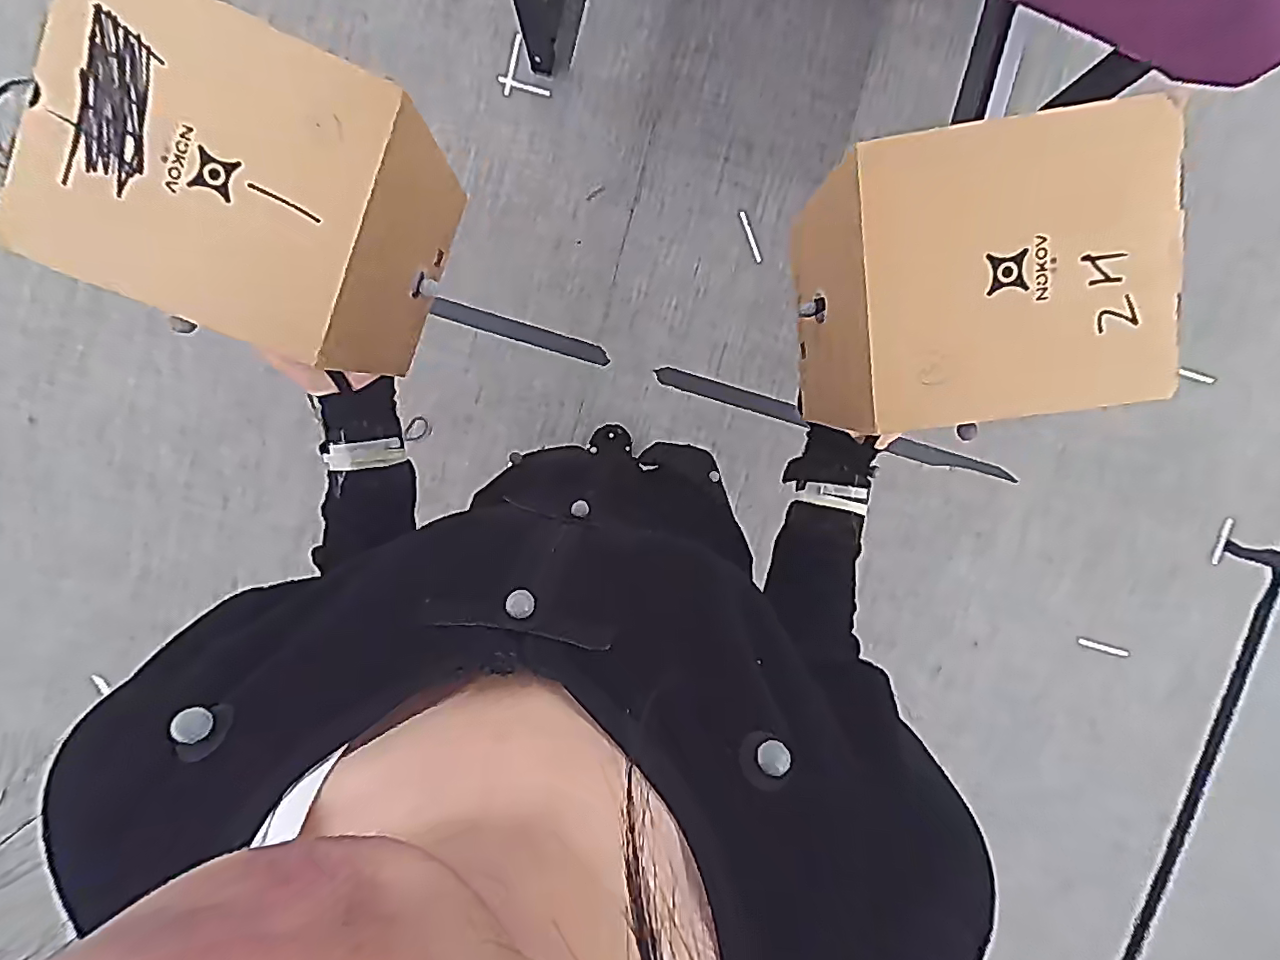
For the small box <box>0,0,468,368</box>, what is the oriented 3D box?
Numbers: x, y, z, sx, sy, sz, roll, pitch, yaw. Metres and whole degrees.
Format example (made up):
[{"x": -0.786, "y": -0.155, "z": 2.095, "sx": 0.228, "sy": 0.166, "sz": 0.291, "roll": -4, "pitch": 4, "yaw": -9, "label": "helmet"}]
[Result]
[{"x": -0.241, "y": -0.183, "z": 0.372, "sx": 0.179, "sy": 0.176, "sz": 0.168, "roll": 21, "pitch": 97, "yaw": -10, "label": "small box"}]

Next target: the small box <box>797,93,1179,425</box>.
[{"x": 0.218, "y": -0.132, "z": 0.388, "sx": 0.179, "sy": 0.176, "sz": 0.168, "roll": -7, "pitch": 99, "yaw": 3, "label": "small box"}]
